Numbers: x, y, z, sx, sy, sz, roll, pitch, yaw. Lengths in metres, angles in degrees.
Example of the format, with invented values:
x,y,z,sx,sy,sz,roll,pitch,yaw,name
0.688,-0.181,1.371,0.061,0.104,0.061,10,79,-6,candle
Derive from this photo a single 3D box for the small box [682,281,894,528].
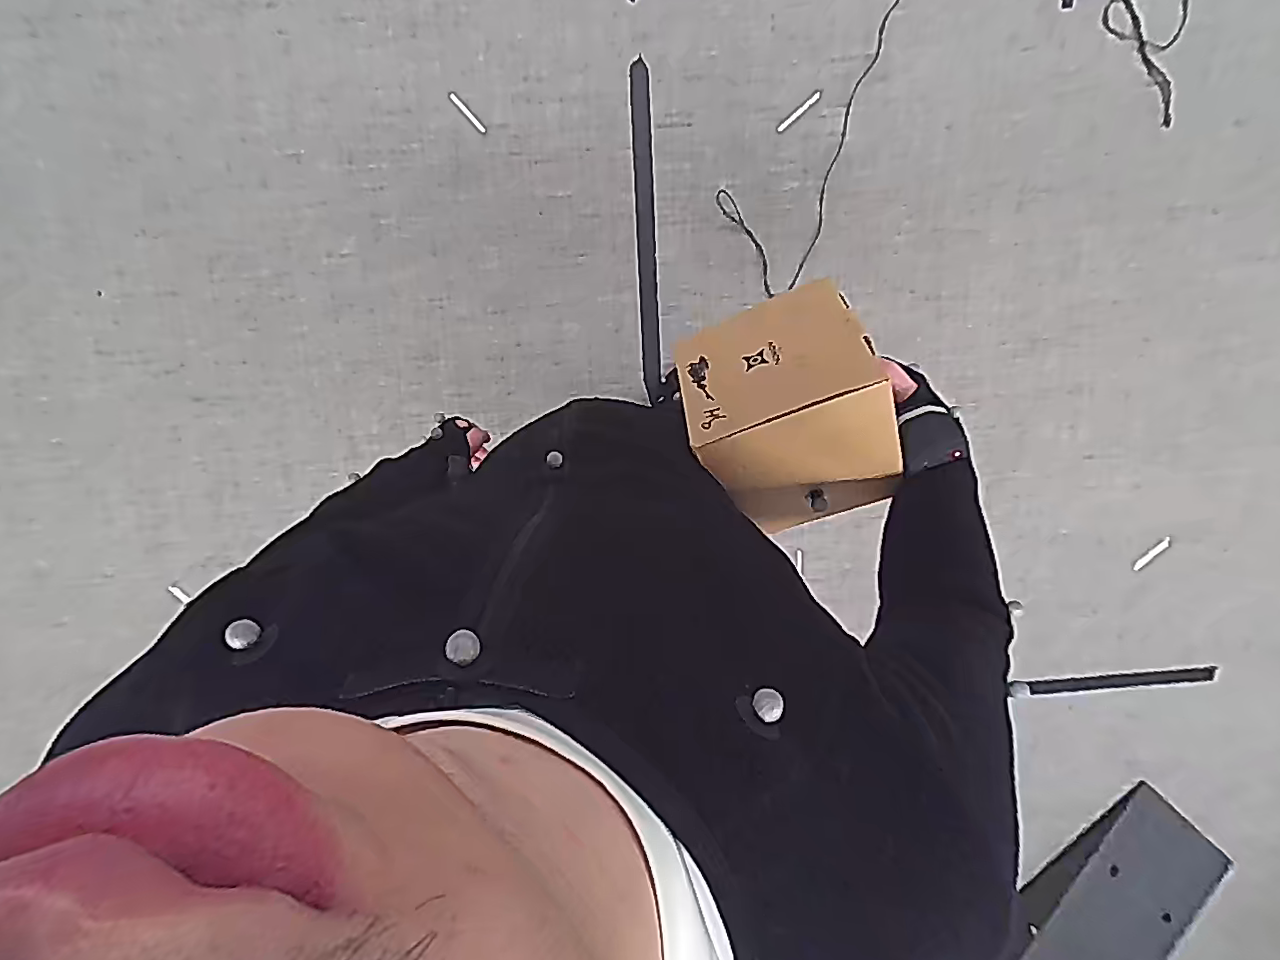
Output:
x,y,z,sx,sy,sz,roll,pitch,yaw,name
0.163,-0.074,0.590,0.179,0.168,0.176,-19,136,16,small box
